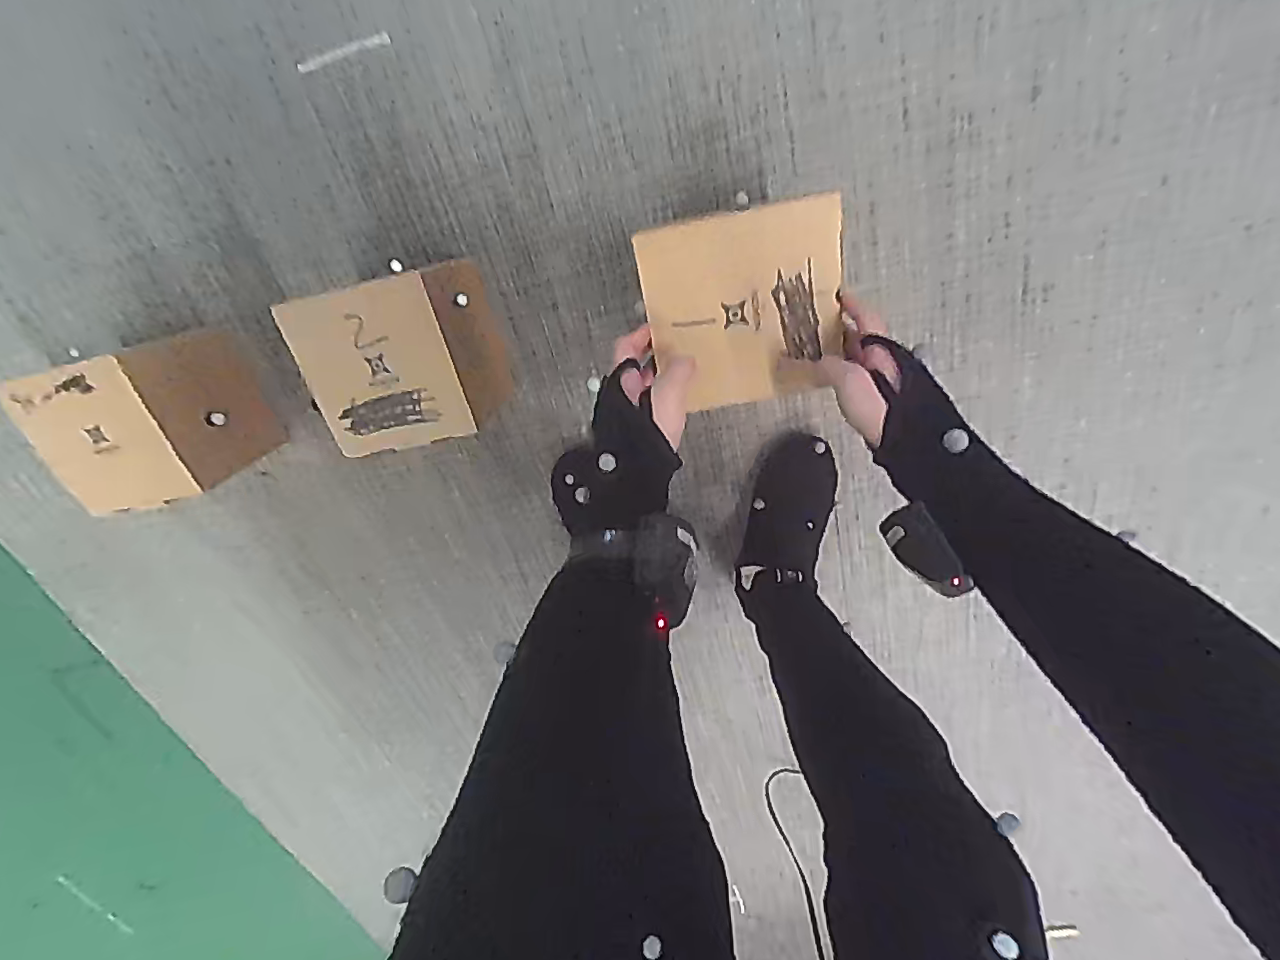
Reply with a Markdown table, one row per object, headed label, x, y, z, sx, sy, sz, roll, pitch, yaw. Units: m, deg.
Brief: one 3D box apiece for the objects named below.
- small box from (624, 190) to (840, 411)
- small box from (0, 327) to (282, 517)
| label | x | y | z | sx | sy | sz | roll | pitch | yaw |
| --- | --- | --- | --- | --- | --- | --- | --- | --- | --- |
| small box | 0.089 | -0.187 | 0.550 | 0.179 | 0.176 | 0.168 | -9 | 116 | 9 |
| small box | -0.613 | -0.079 | 0.692 | 0.168 | 0.176 | 0.179 | -11 | 116 | 8 |
